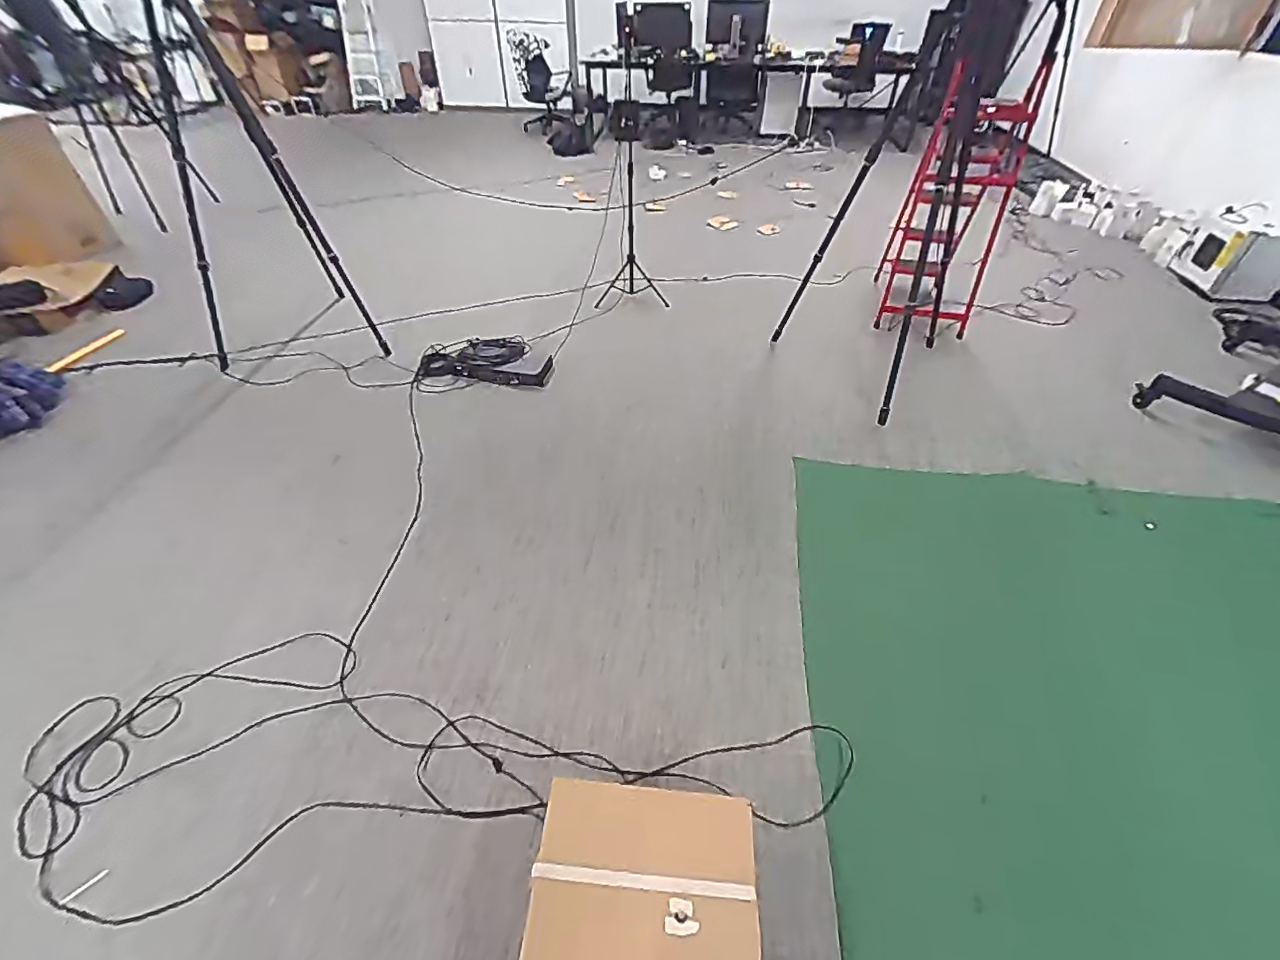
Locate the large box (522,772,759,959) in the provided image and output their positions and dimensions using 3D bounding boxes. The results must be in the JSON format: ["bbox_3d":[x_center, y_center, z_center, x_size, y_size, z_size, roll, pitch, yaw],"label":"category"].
[{"bbox_3d":[0.002,0.822,1.089,0.408,0.320,0.320,5,45,2],"label":"large box"}]
